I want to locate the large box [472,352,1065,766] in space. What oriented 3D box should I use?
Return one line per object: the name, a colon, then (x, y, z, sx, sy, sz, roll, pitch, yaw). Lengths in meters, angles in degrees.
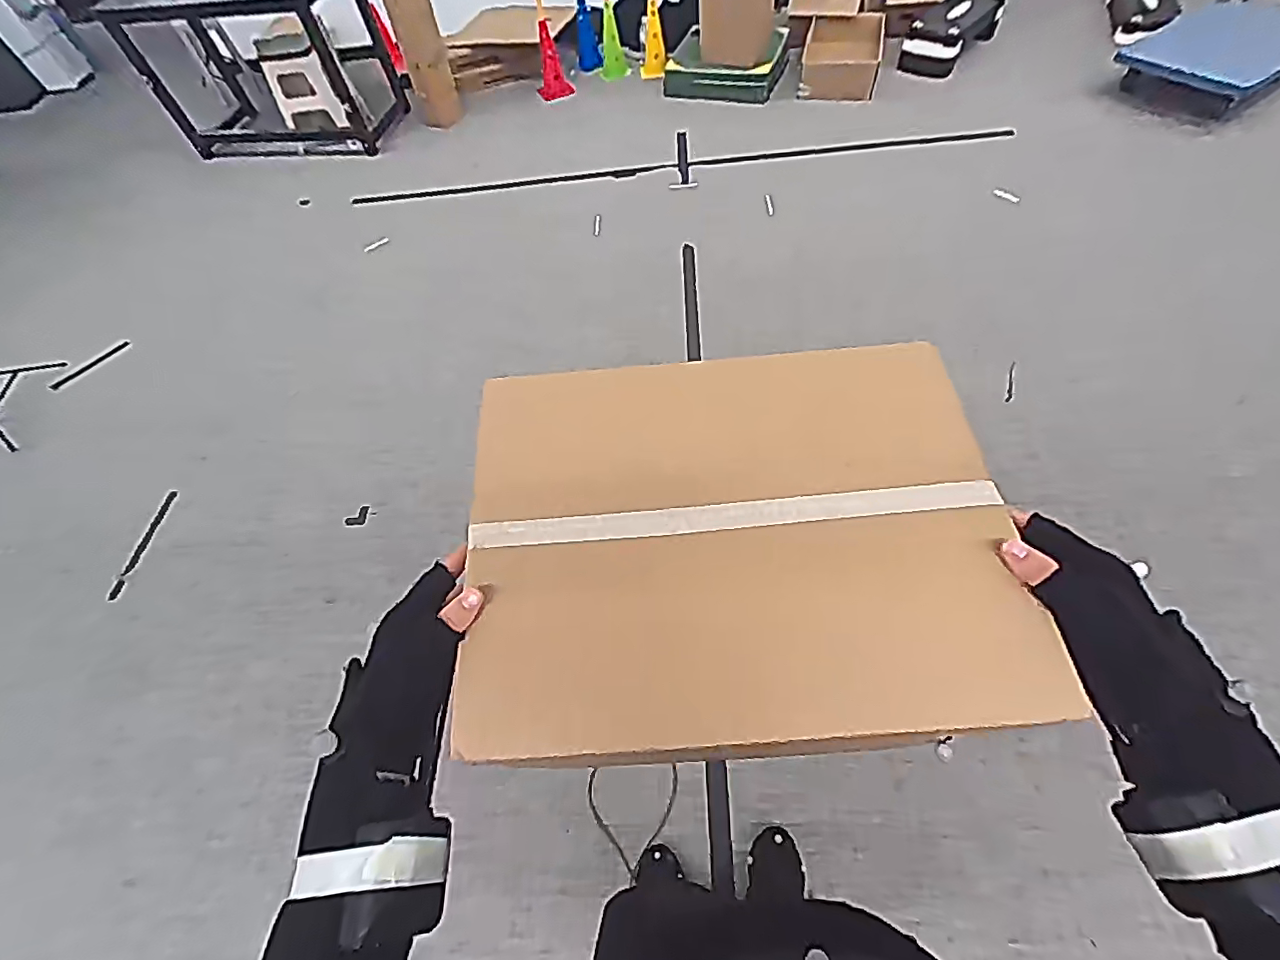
large box: (0.085, 0.105, 0.558, 0.408, 0.320, 0.320, -5, 61, 2)
